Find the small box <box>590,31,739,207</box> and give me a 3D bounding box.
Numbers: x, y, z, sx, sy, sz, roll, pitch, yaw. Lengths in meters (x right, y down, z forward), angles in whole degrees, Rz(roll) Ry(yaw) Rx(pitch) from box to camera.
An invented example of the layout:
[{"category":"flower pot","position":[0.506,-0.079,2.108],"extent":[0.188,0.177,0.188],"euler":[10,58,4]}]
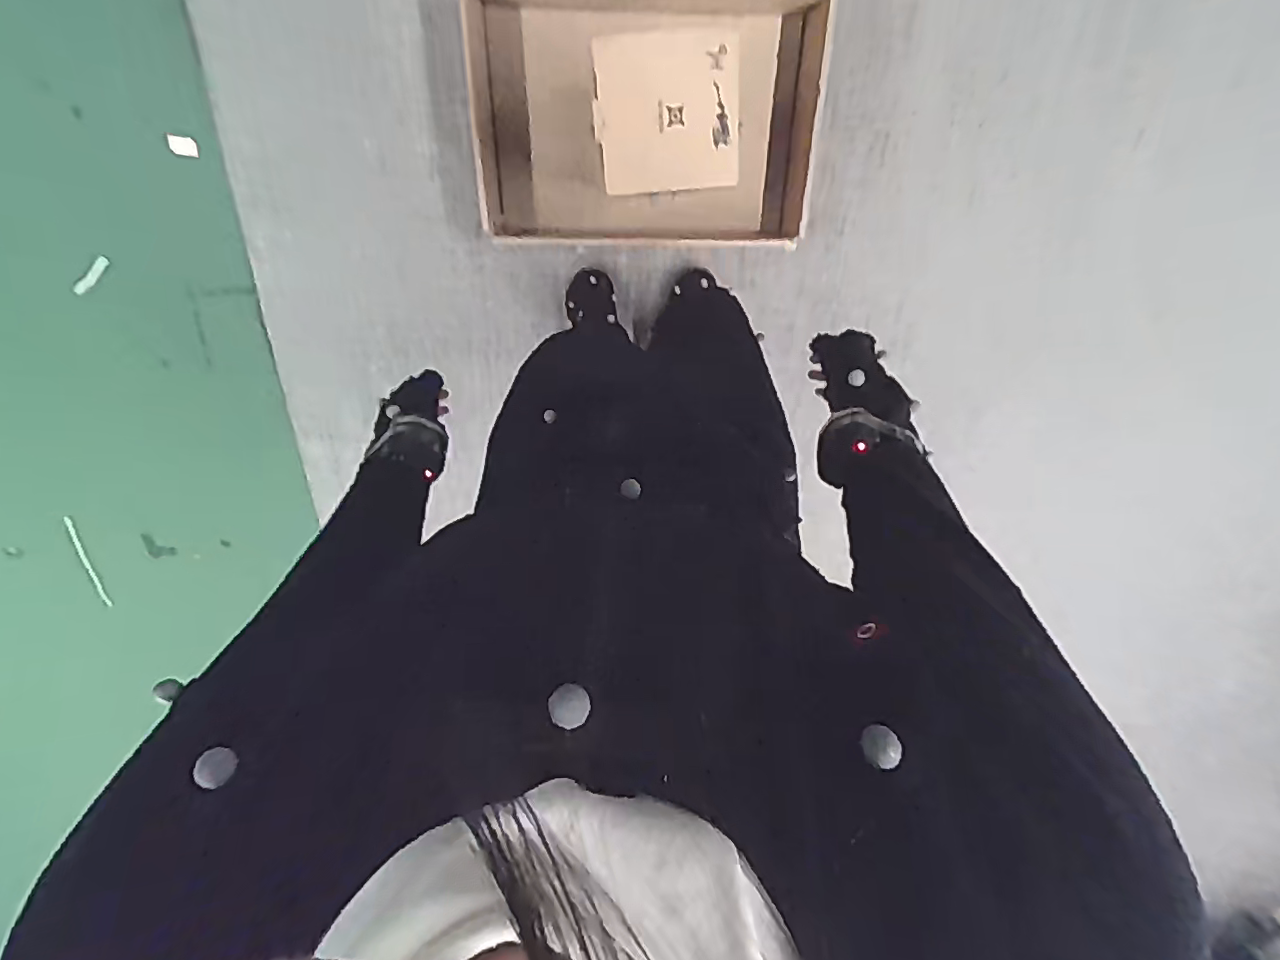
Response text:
[{"category":"small box","position":[0.030,-0.480,0.745],"extent":[0.179,0.176,0.168],"euler":[-8,114,-1]}]
